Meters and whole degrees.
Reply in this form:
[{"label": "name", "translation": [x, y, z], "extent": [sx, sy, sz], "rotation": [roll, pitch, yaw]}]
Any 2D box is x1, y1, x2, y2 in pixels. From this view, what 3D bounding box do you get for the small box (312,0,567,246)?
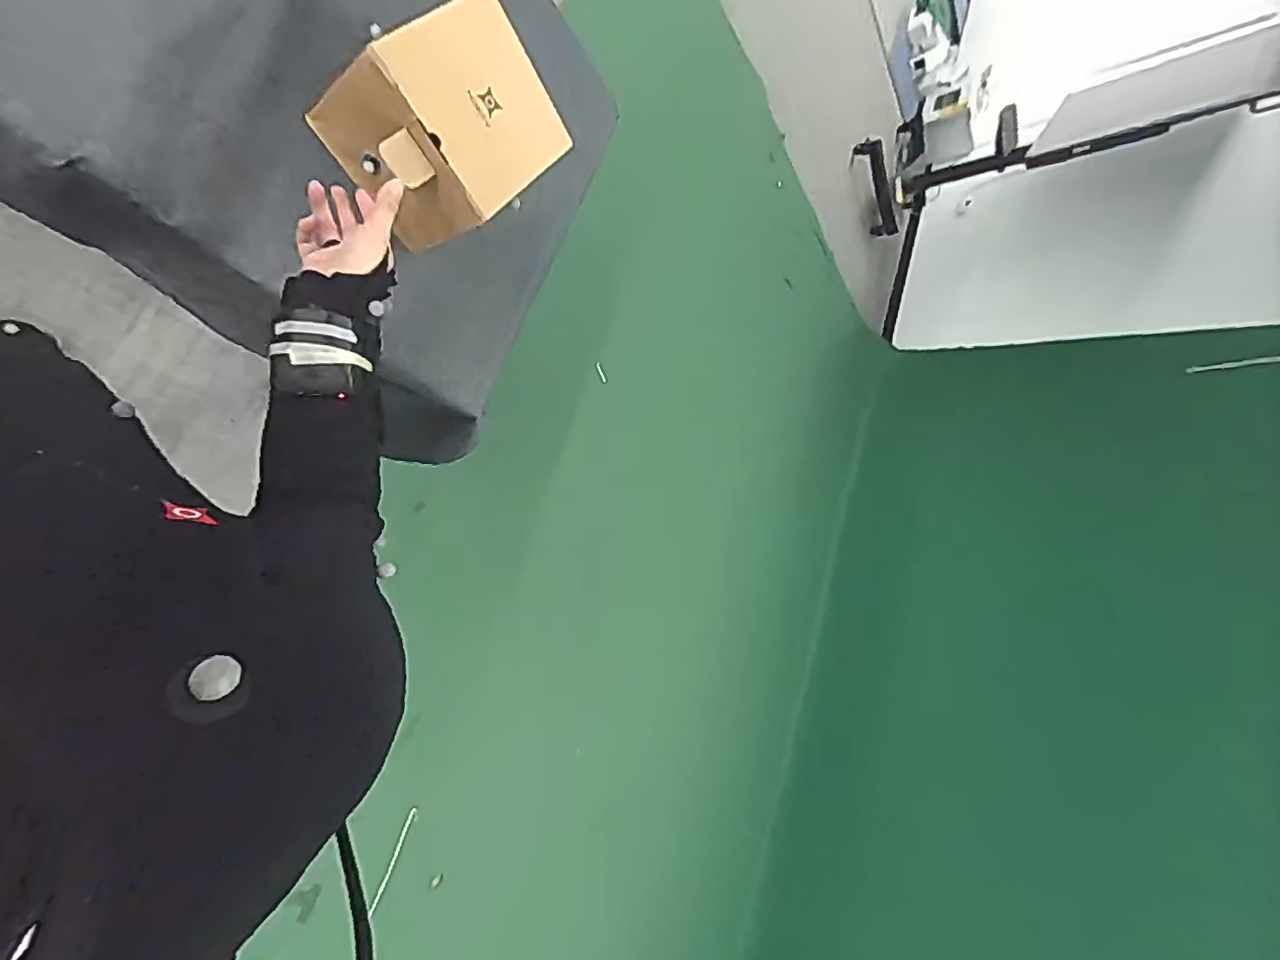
[{"label": "small box", "translation": [-0.223, -0.396, 0.611], "extent": [0.179, 0.176, 0.168], "rotation": [-58, 133, -27]}]
